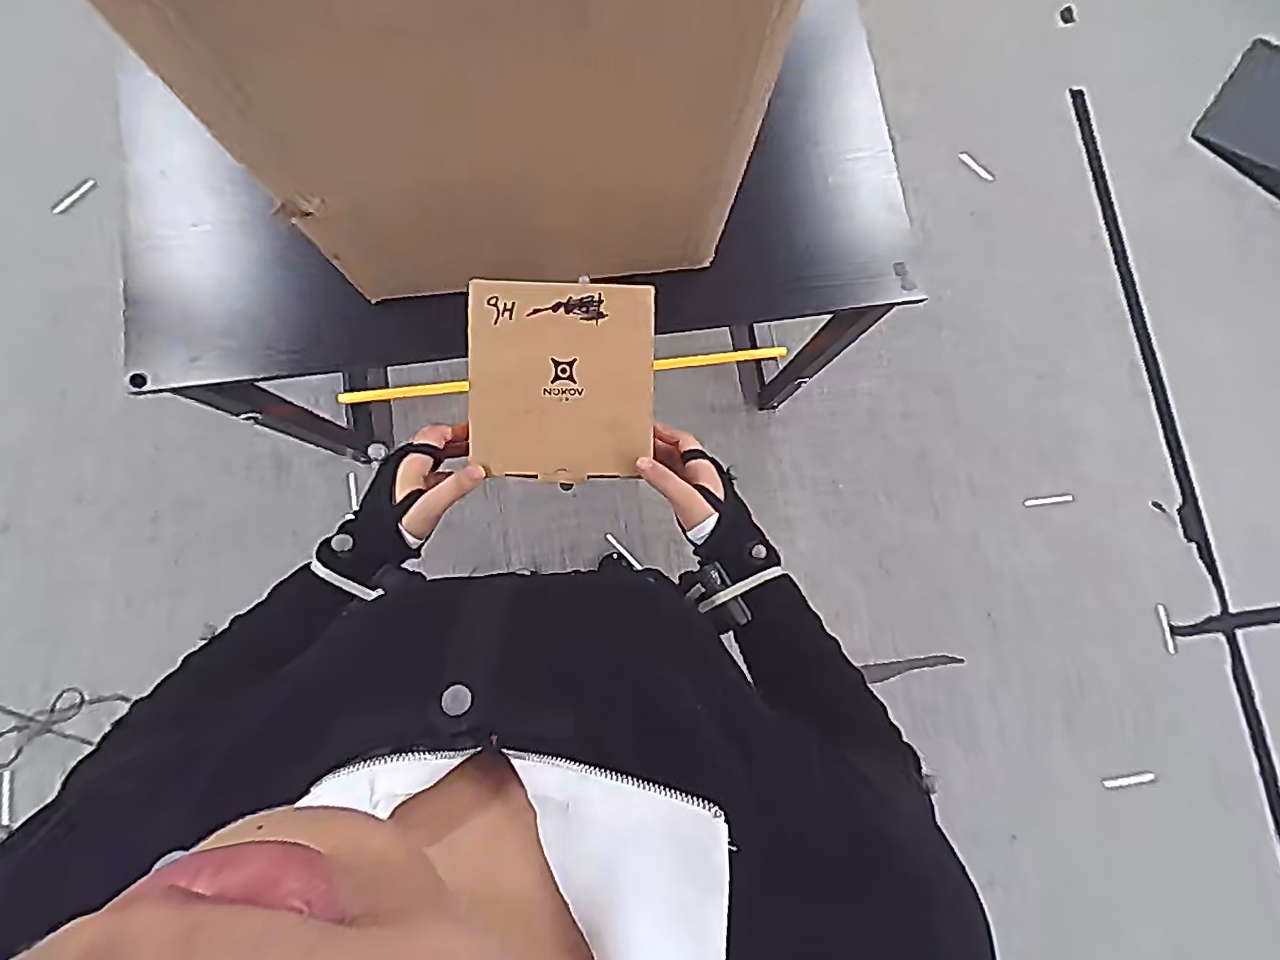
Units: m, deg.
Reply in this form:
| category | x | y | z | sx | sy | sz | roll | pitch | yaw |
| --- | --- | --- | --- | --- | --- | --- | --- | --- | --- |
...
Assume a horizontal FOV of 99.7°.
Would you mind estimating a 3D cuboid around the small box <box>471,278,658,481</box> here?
| category | x | y | z | sx | sy | sz | roll | pitch | yaw |
| --- | --- | --- | --- | --- | --- | --- | --- | --- | --- |
| small box | -0.073 | -0.093 | 0.562 | 0.168 | 0.176 | 0.179 | 1 | 93 | -5 |
